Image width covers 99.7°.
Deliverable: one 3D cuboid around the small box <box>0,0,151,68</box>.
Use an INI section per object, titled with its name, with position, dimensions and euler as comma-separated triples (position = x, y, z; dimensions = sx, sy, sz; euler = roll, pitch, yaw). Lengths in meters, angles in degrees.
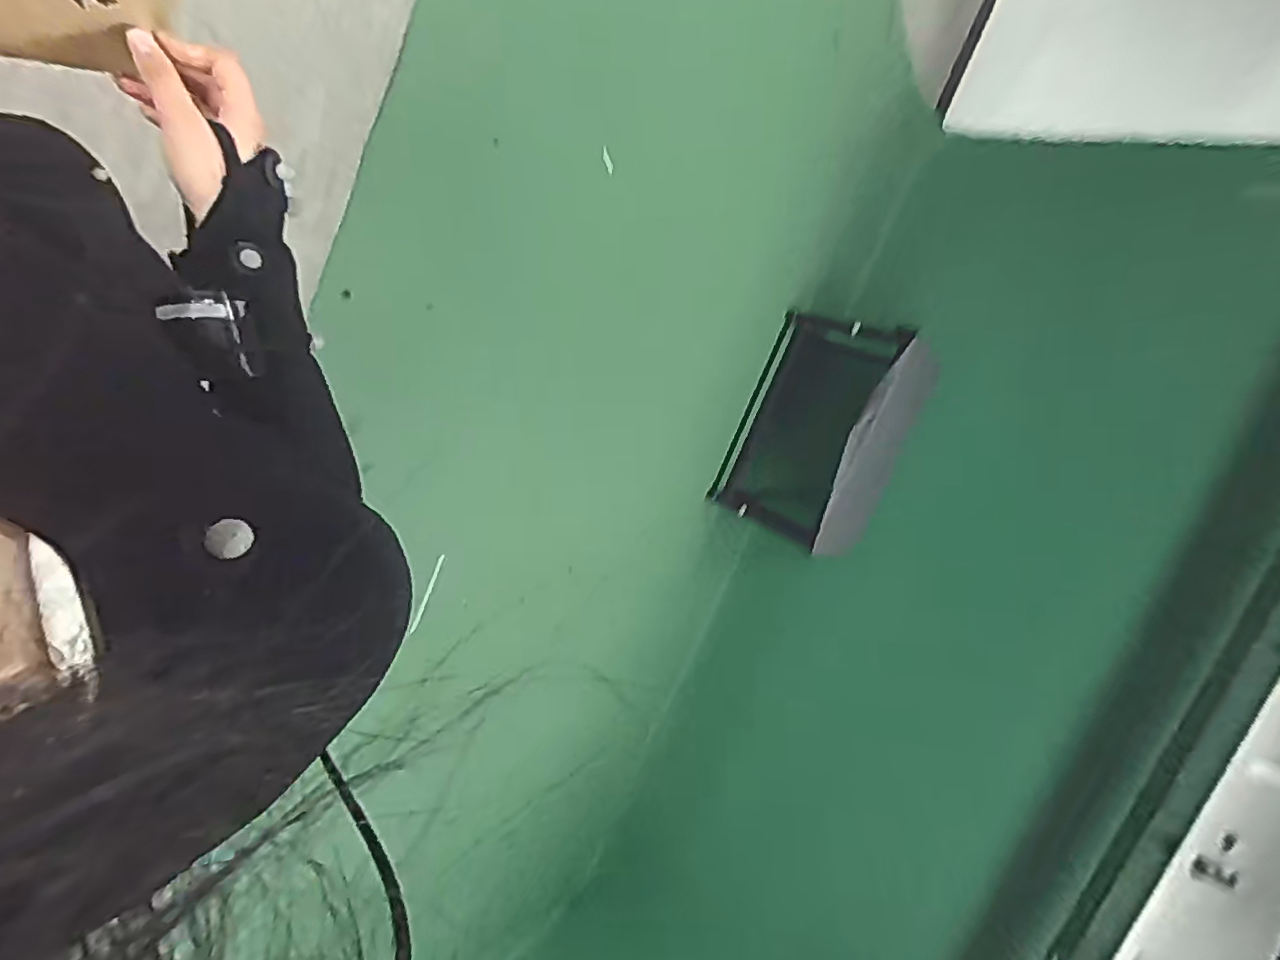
[small box]
position = -0.391, -0.375, 0.284
dimensions = 0.179, 0.176, 0.168
euler = -3, 163, -21
